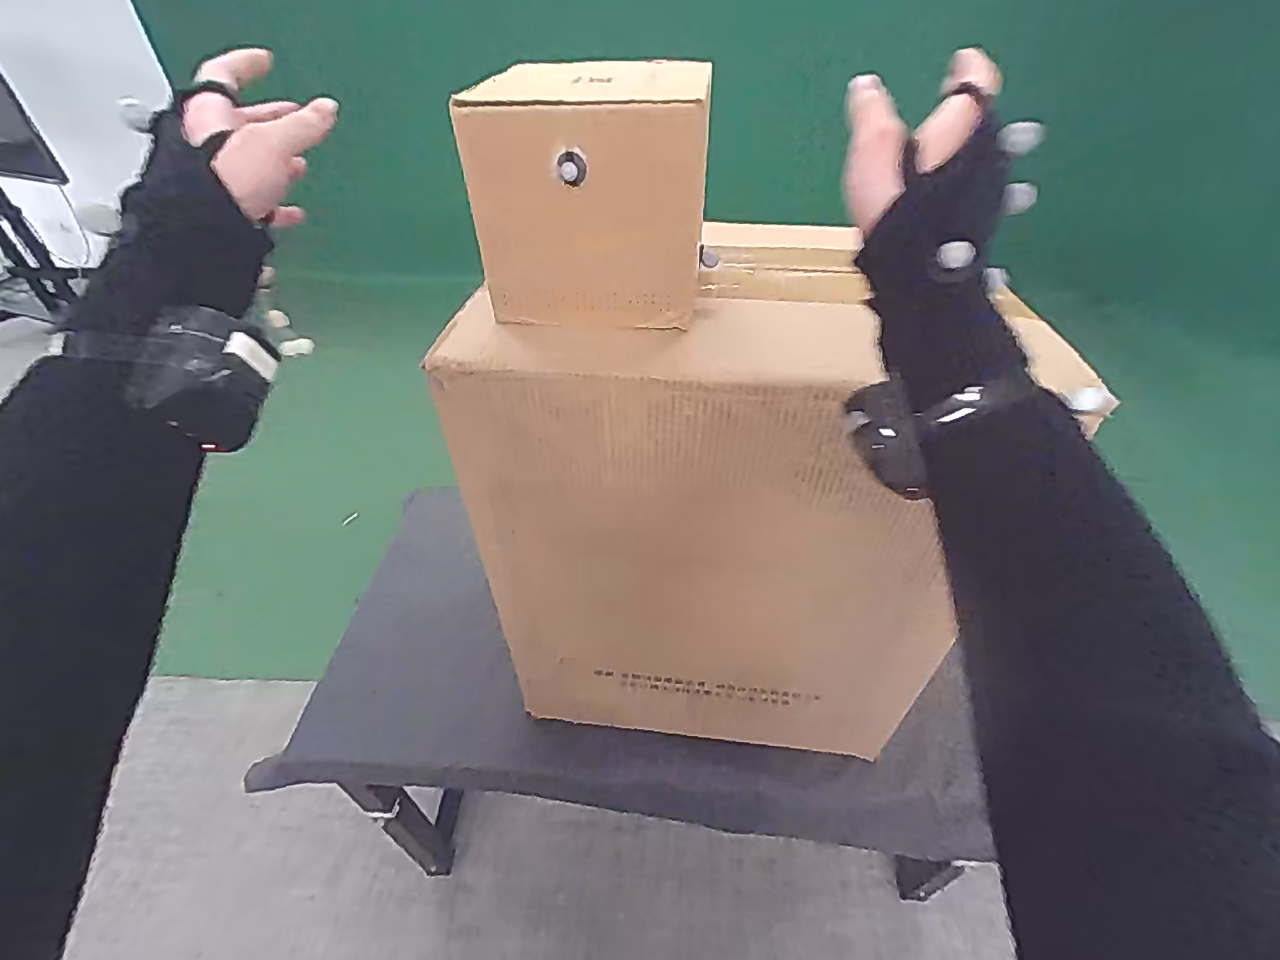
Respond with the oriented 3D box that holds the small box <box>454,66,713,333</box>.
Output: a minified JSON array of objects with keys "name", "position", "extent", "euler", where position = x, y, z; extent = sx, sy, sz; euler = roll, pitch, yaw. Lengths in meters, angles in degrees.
[{"name":"small box","position":[-0.032,-0.244,0.471],"extent":[0.179,0.176,0.168],"euler":[5,45,4]}]
